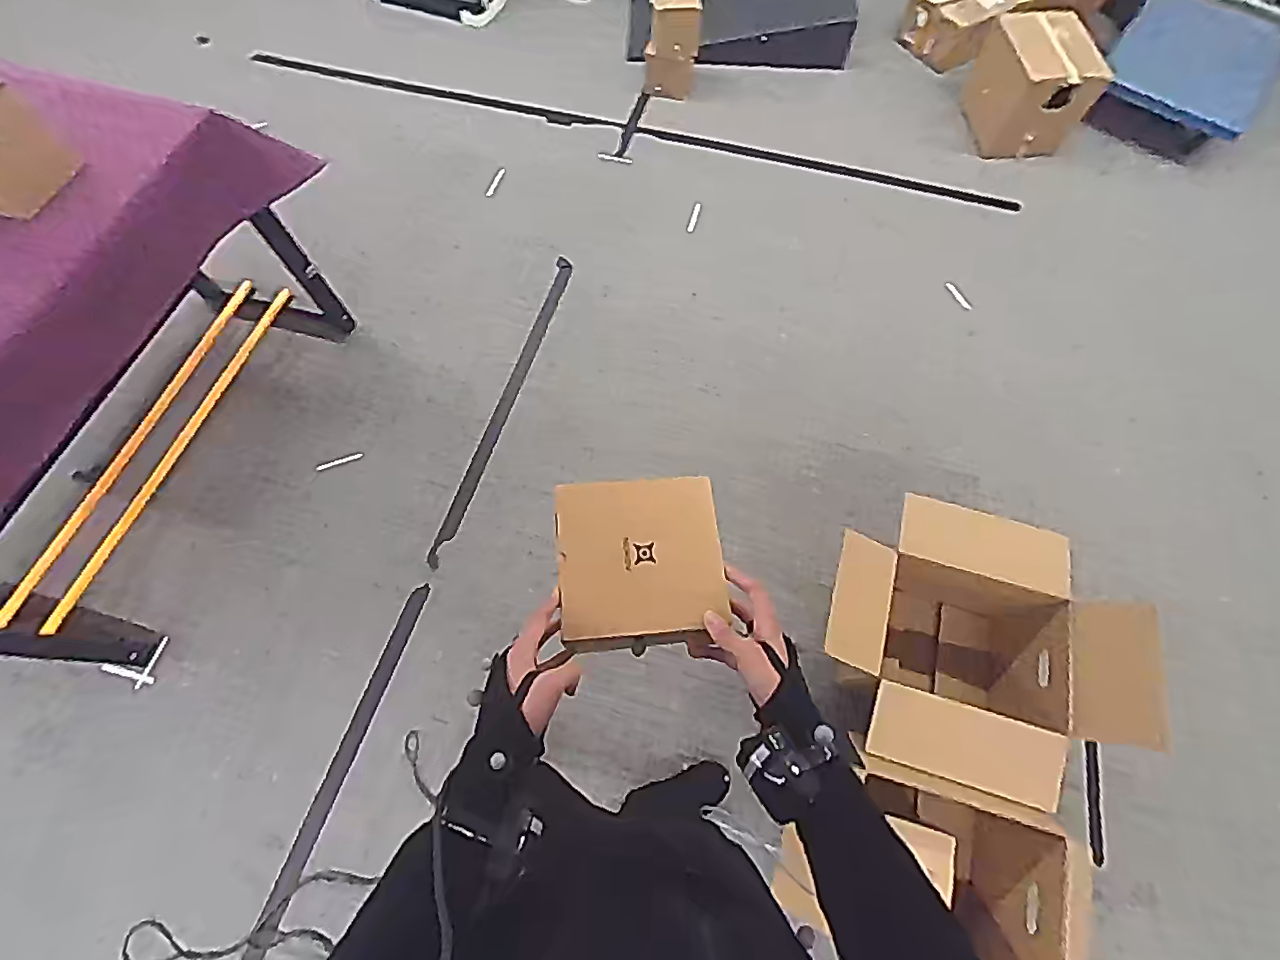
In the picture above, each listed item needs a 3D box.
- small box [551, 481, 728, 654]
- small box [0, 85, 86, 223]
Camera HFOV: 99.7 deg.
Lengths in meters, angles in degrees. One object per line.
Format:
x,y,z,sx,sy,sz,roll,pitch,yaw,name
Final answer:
-0.009,0.110,0.639,0.179,0.176,0.168,-5,69,-5,small box
-1.256,-0.633,1.044,0.168,0.176,0.179,15,68,6,small box
